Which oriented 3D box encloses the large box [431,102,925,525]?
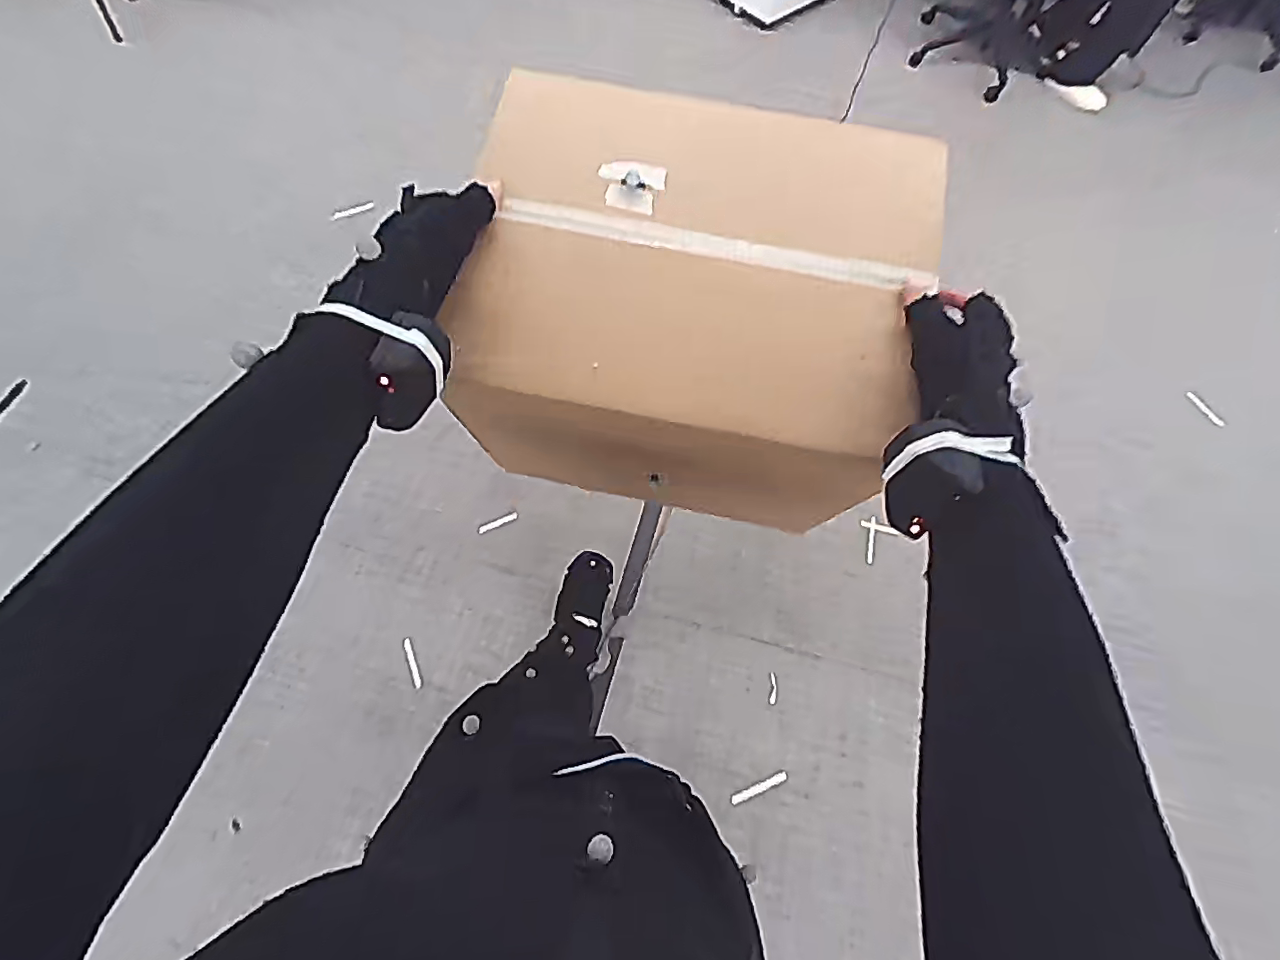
[{"bbox_3d":[0.049,-0.154,0.626,0.408,0.320,0.320,12,74,4],"label":"large box"}]
